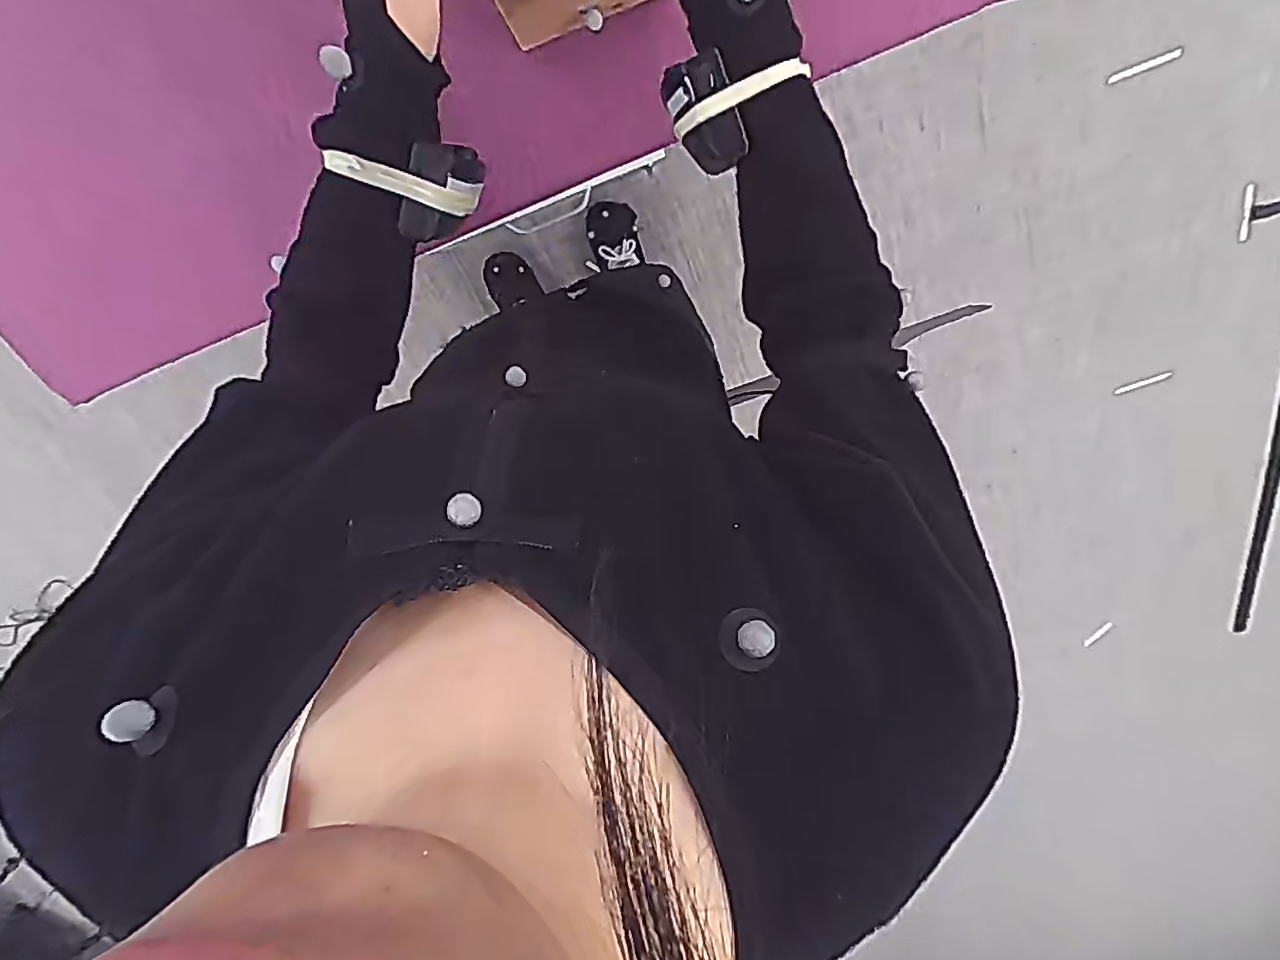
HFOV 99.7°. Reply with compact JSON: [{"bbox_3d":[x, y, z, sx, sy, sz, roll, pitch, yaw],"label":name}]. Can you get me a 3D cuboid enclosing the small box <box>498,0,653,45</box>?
[{"bbox_3d":[-0.067,-0.500,0.436,0.168,0.176,0.179,-17,117,6],"label":"small box"}]
